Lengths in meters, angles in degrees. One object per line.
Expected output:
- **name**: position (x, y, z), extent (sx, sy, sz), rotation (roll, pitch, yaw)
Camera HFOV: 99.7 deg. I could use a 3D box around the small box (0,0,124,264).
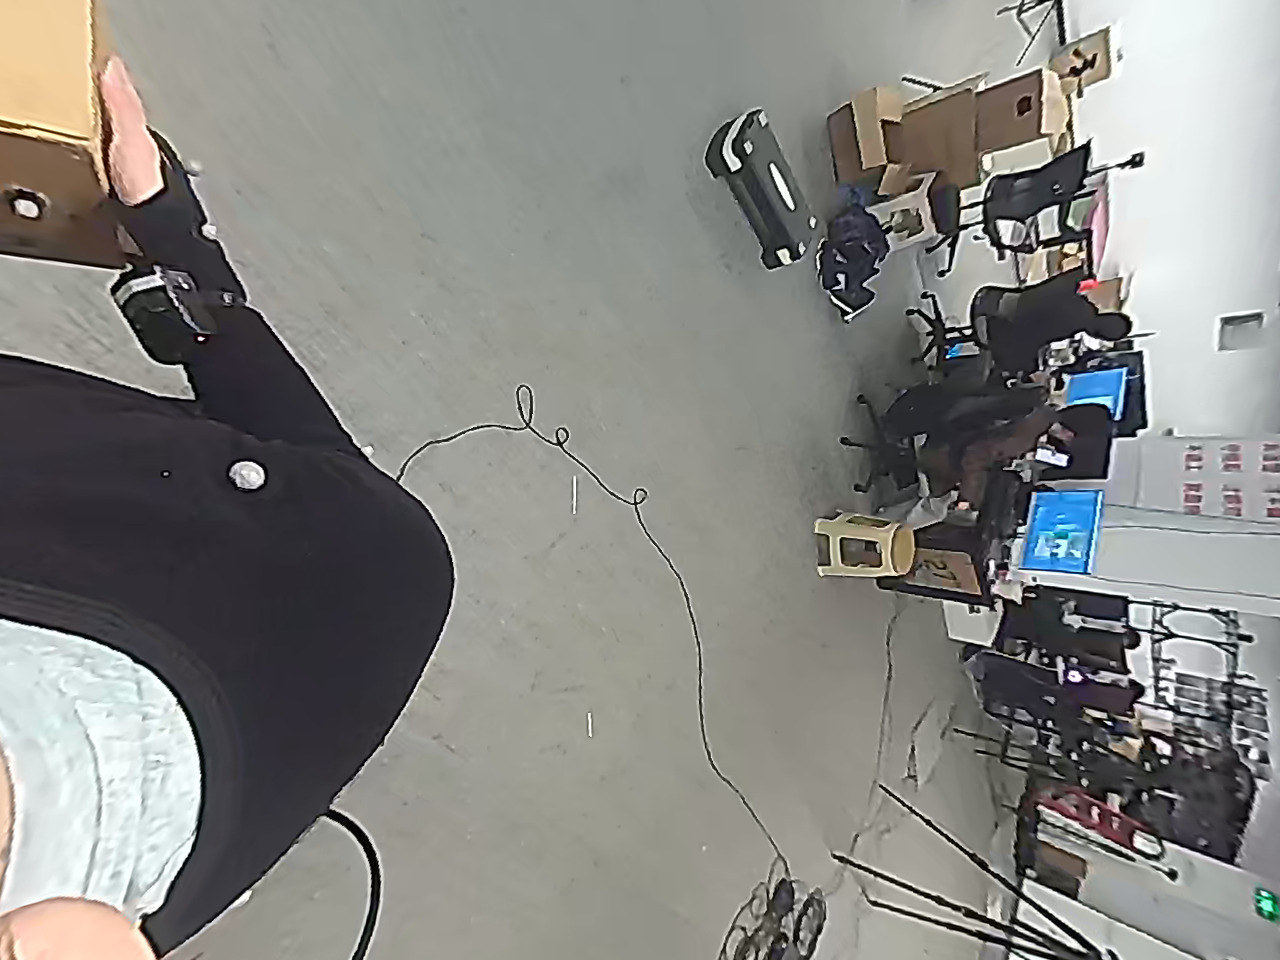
- **small box**: position (-0.495, -0.287, 0.390), extent (0.168, 0.176, 0.179), rotation (-3, 77, -40)
